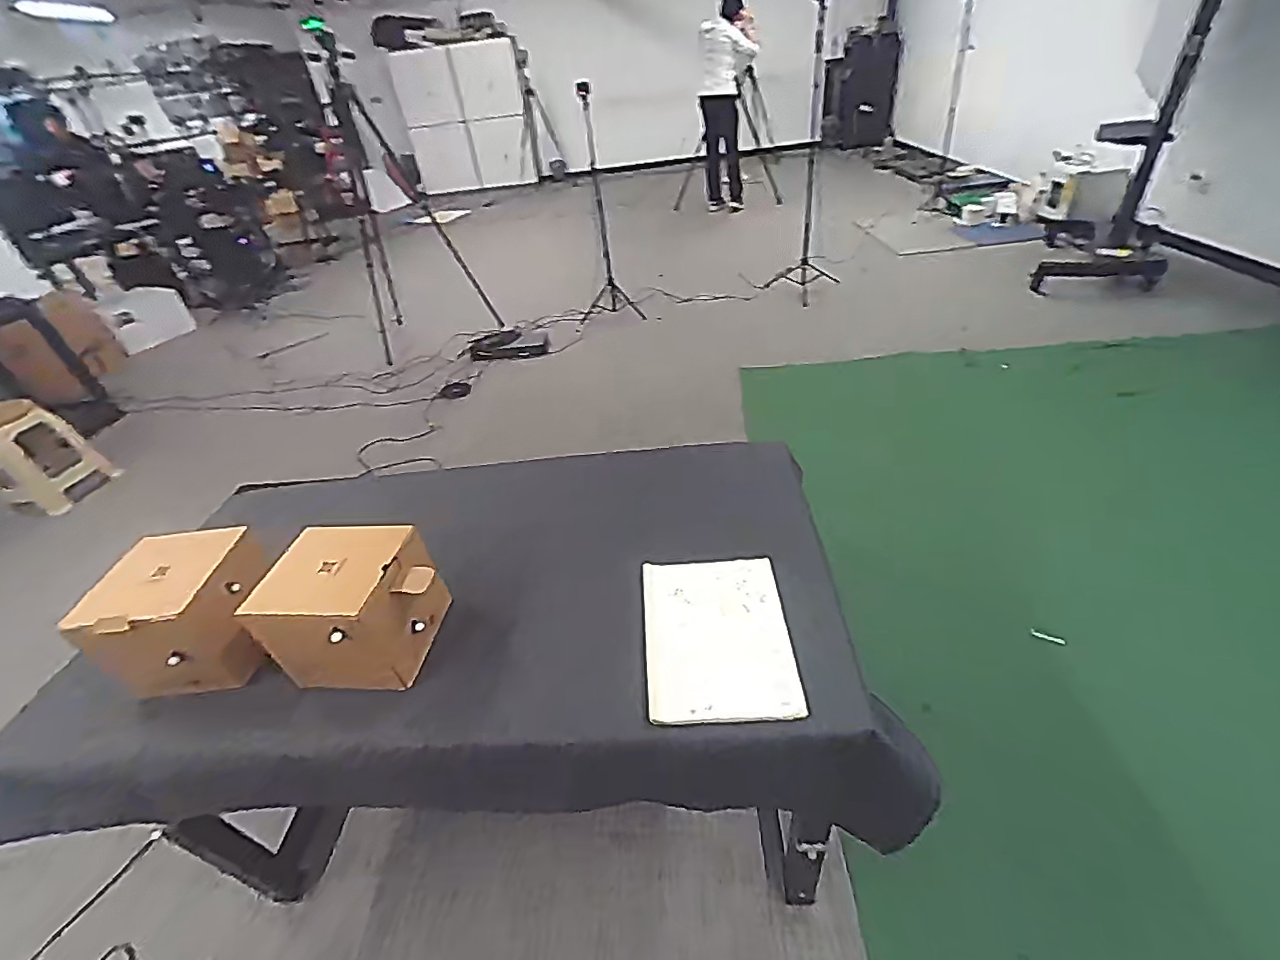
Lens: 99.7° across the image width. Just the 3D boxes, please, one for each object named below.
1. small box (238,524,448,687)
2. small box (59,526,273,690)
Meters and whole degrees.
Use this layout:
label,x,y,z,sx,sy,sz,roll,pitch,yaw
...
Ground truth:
label,x,y,z,sx,sy,sz,roll,pitch,yaw
small box,-0.410,0.181,0.782,0.179,0.176,0.168,-2,37,8
small box,-0.668,0.196,0.810,0.168,0.176,0.179,-6,36,0
